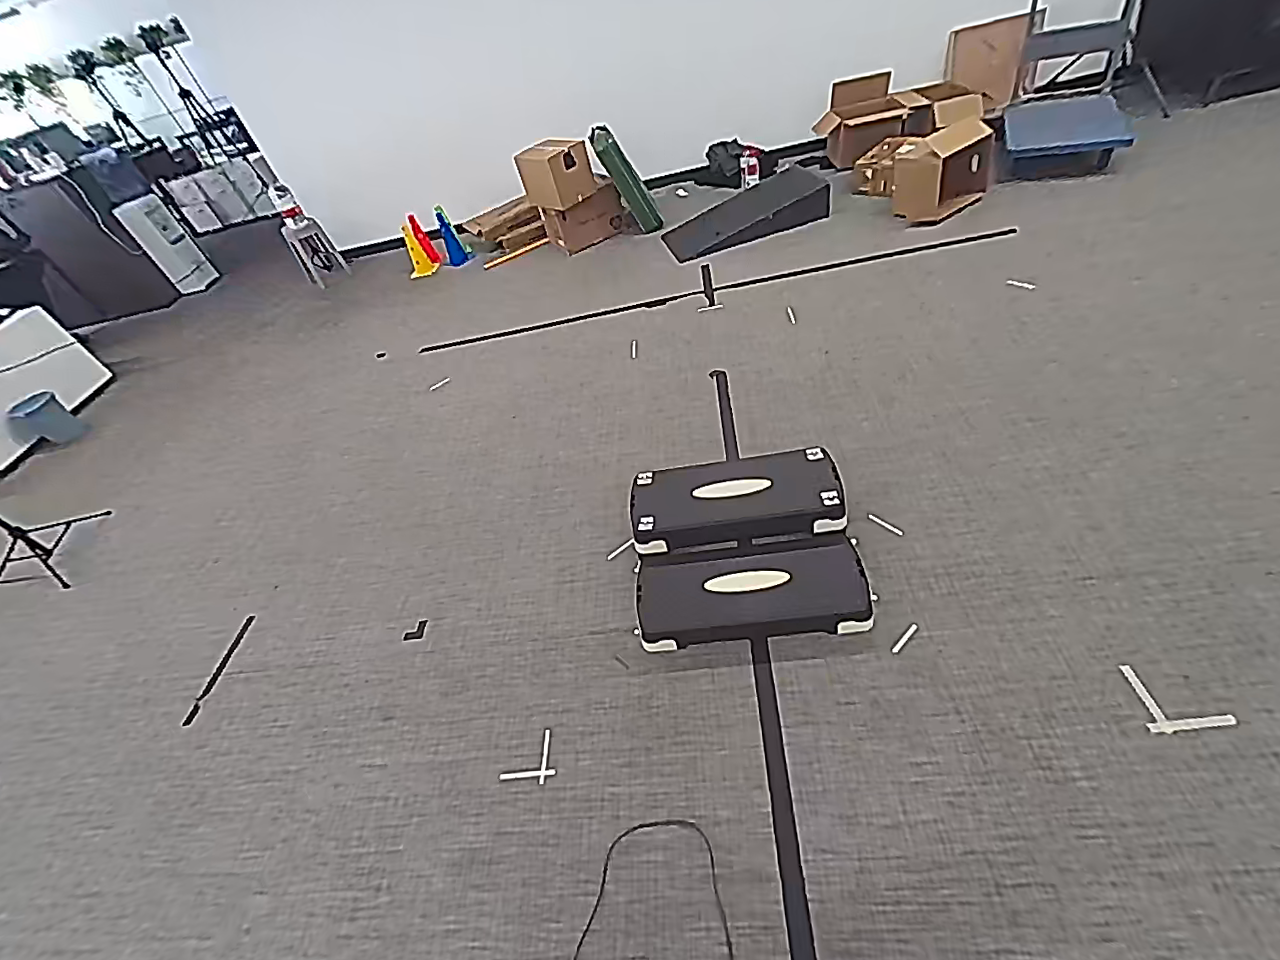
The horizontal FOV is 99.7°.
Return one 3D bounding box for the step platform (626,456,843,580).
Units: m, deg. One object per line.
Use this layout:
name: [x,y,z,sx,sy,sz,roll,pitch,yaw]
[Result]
step platform: [0.294,0.121,1.766,0.684,0.204,0.286,-9,45,8]
